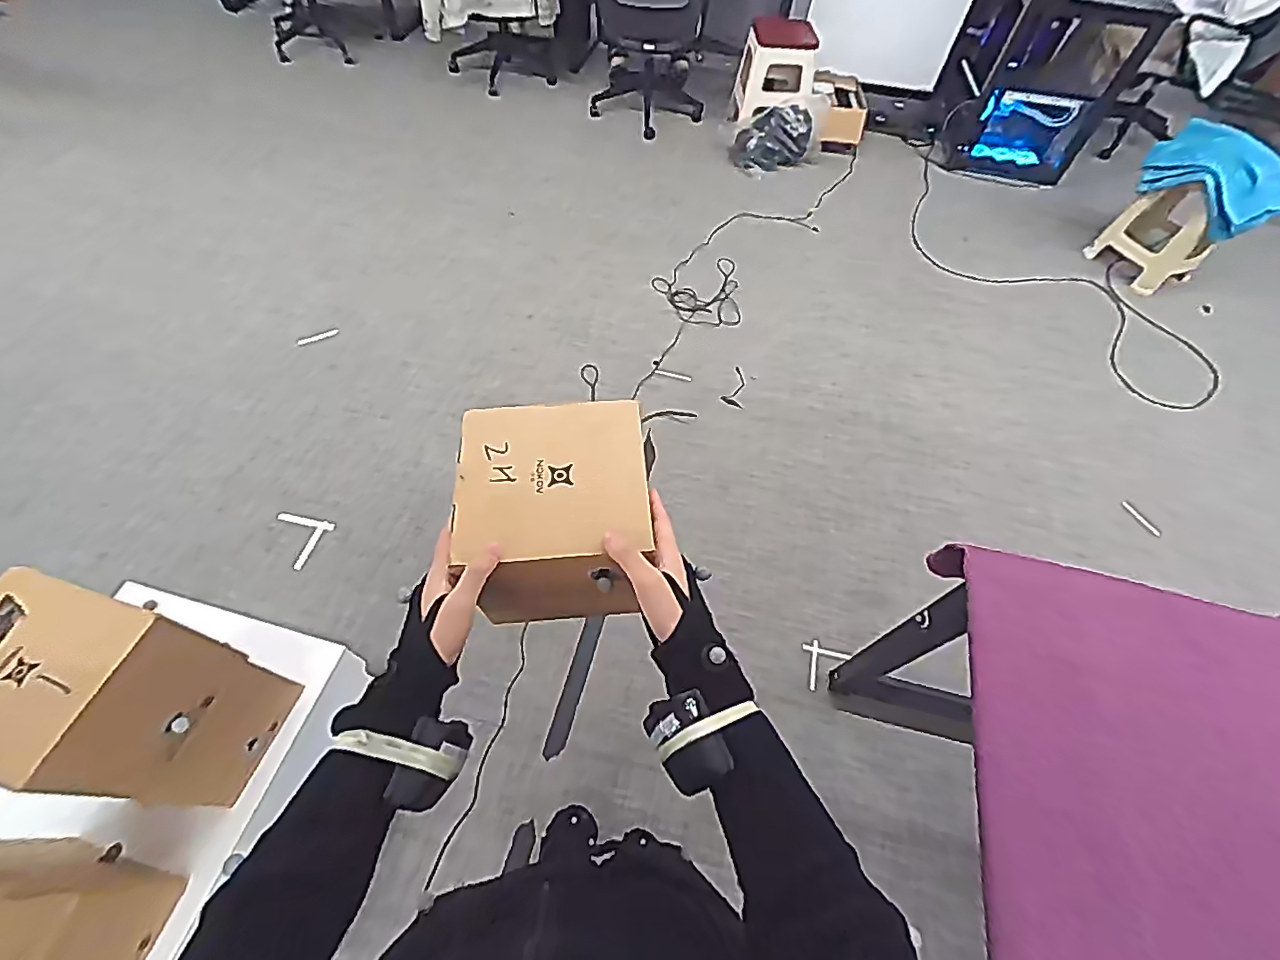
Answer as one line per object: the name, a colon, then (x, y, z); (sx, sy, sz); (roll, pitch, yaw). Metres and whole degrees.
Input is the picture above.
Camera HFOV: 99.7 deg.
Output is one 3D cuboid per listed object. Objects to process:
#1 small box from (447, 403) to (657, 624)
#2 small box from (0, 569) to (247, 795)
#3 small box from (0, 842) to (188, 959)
small box: (-0.078, 0.040, 0.555); (0.179, 0.176, 0.168); (-4, 57, -2)
small box: (-0.583, 0.221, 0.574); (0.179, 0.176, 0.168); (16, 59, 6)
small box: (-0.664, 0.508, 0.581); (0.179, 0.176, 0.168); (14, 58, 7)
